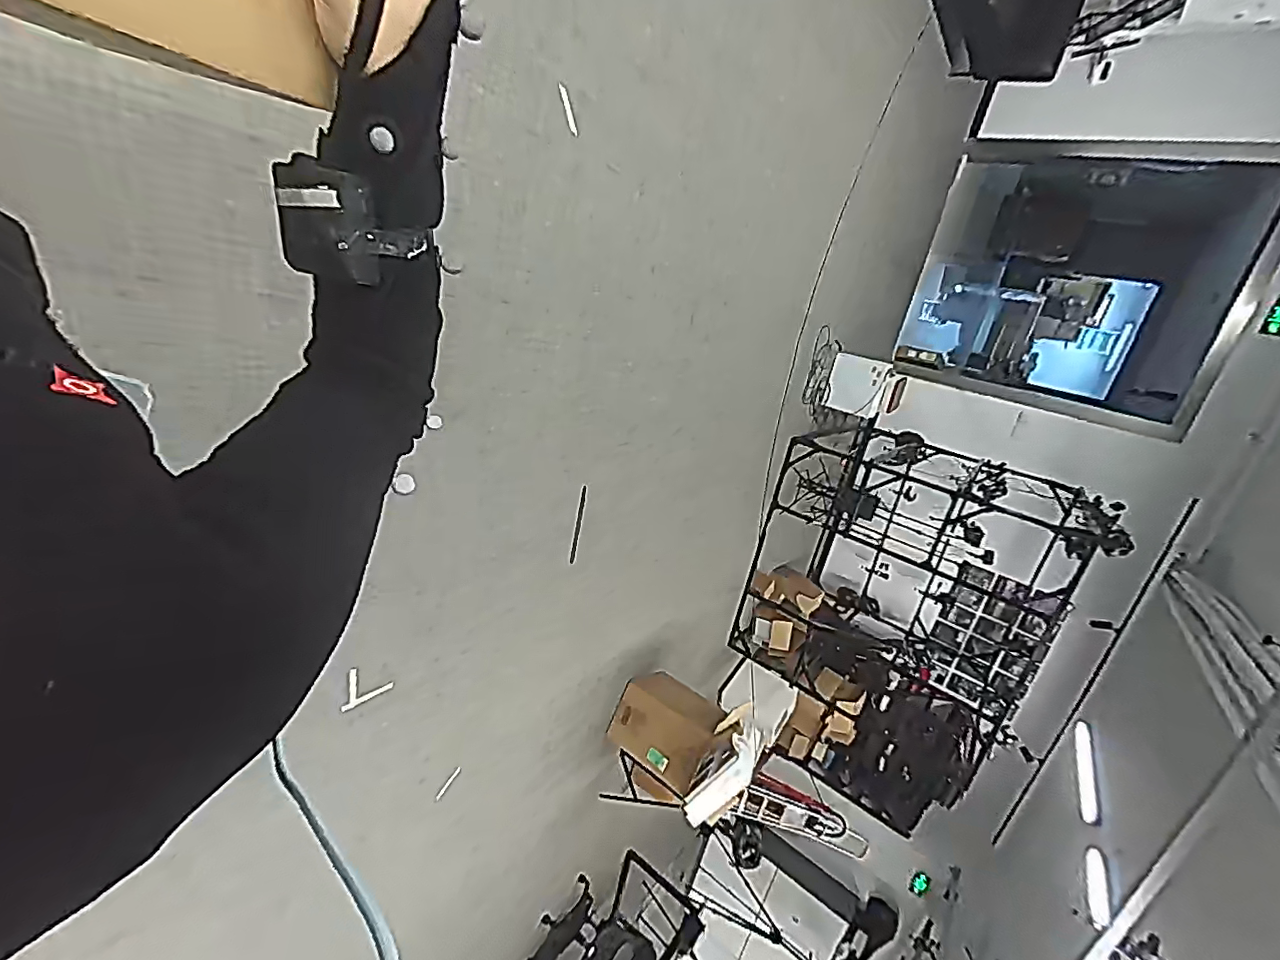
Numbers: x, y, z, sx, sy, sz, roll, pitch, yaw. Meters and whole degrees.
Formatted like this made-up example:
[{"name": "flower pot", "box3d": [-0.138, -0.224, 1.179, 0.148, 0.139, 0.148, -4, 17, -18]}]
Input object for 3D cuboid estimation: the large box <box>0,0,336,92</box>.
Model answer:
[{"name": "large box", "box3d": [-0.358, -0.378, 0.148, 0.408, 0.320, 0.320, -18, 133, -55]}]
